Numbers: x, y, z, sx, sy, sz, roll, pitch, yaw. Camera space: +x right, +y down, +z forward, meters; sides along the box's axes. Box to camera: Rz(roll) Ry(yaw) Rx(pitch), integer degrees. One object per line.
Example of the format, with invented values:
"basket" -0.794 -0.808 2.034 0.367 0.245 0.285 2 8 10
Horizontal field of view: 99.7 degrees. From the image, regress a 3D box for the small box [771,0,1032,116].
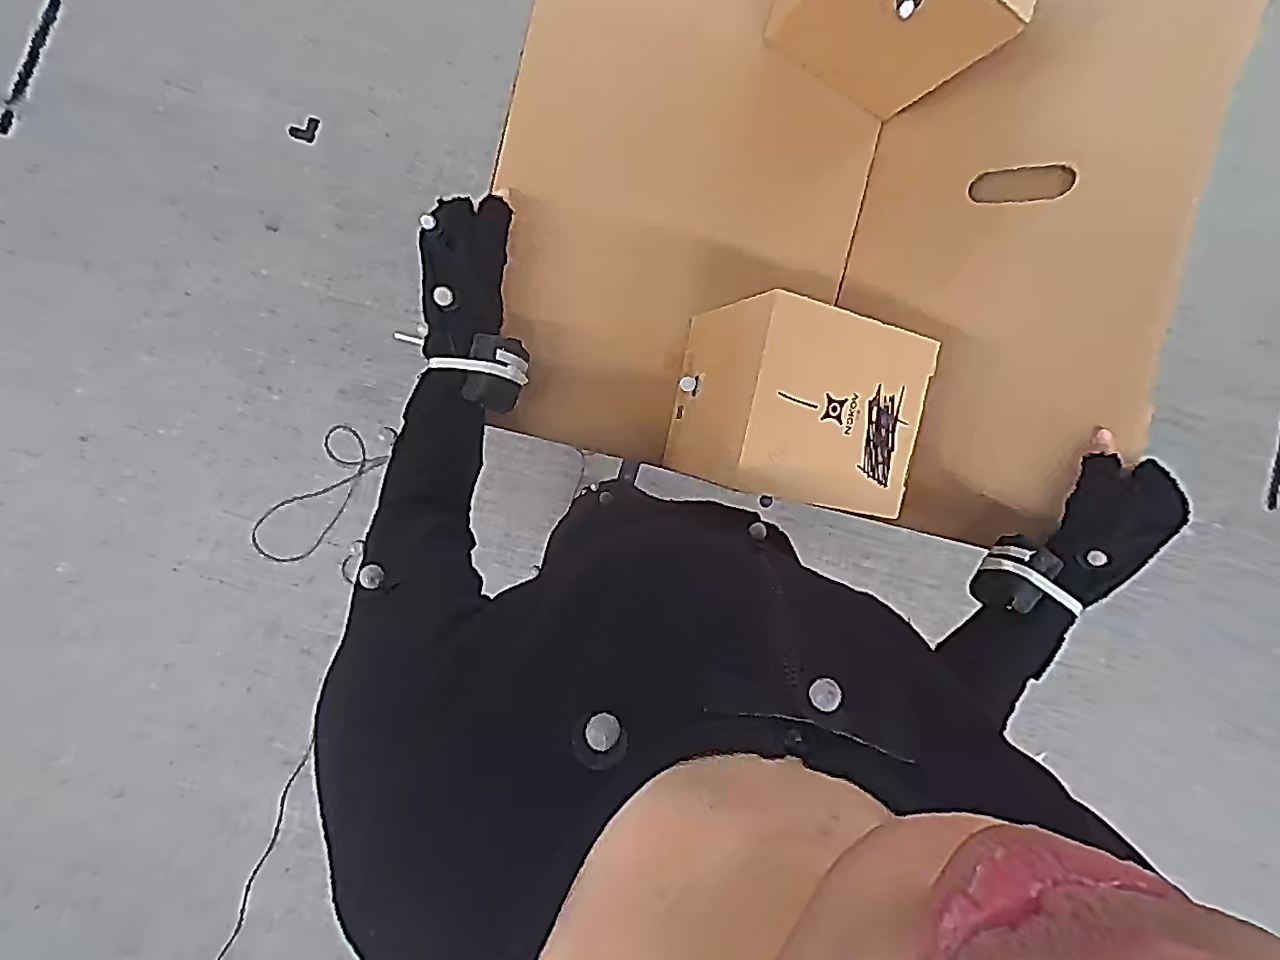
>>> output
"small box" 0.256 -0.501 0.522 0.179 0.176 0.168 17 91 -21
